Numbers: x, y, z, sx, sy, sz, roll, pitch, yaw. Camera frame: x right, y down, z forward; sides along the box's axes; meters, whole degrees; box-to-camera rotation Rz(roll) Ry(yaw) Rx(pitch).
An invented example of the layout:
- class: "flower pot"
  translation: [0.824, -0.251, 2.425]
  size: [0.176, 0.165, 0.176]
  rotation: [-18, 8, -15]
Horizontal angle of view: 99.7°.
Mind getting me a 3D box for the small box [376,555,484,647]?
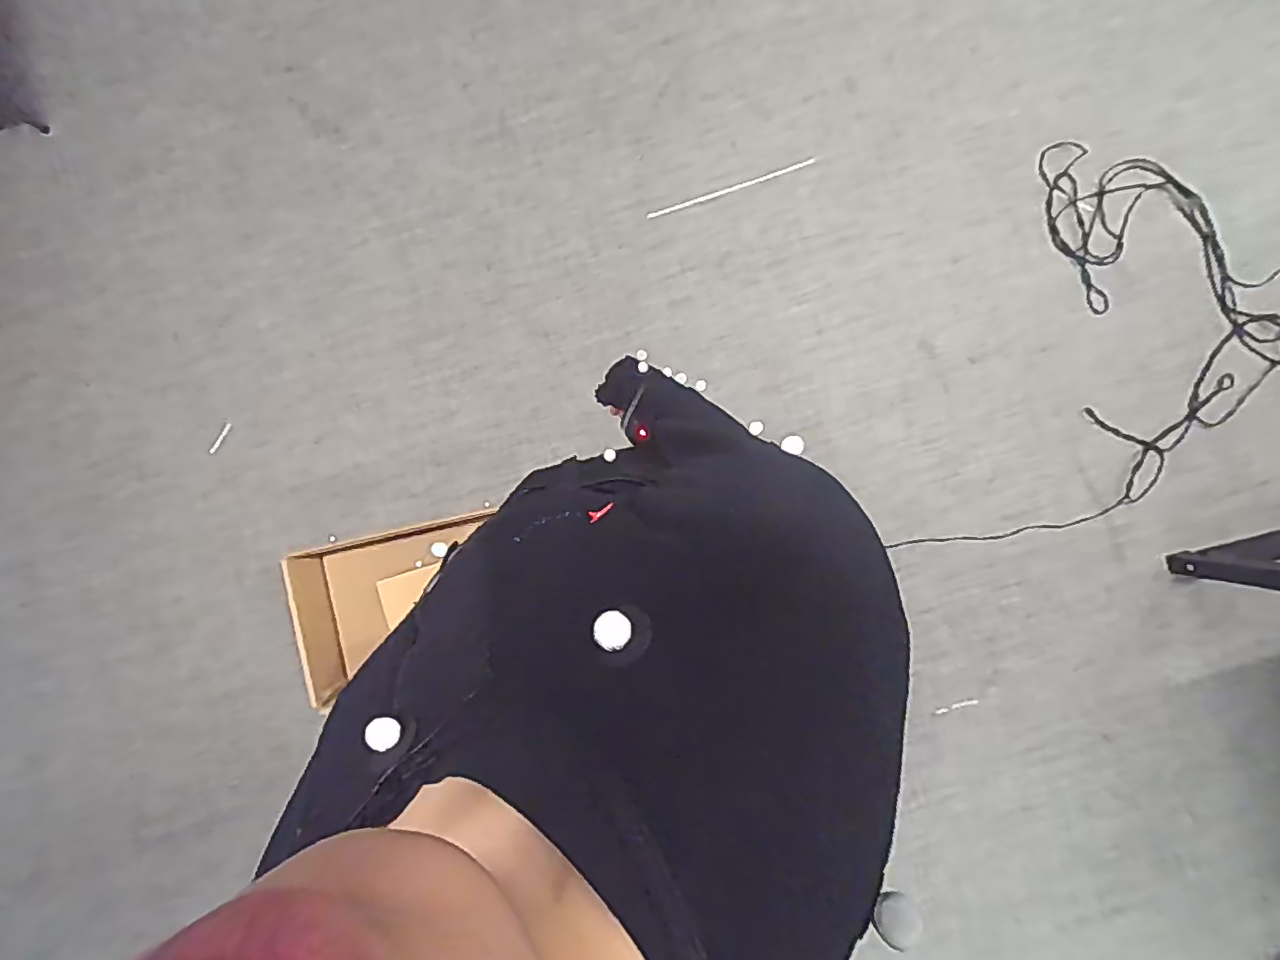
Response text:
- class: "small box"
  translation: [-0.517, 0.295, 1.350]
  size: [0.179, 0.176, 0.168]
  rotation: [-17, 88, 1]
